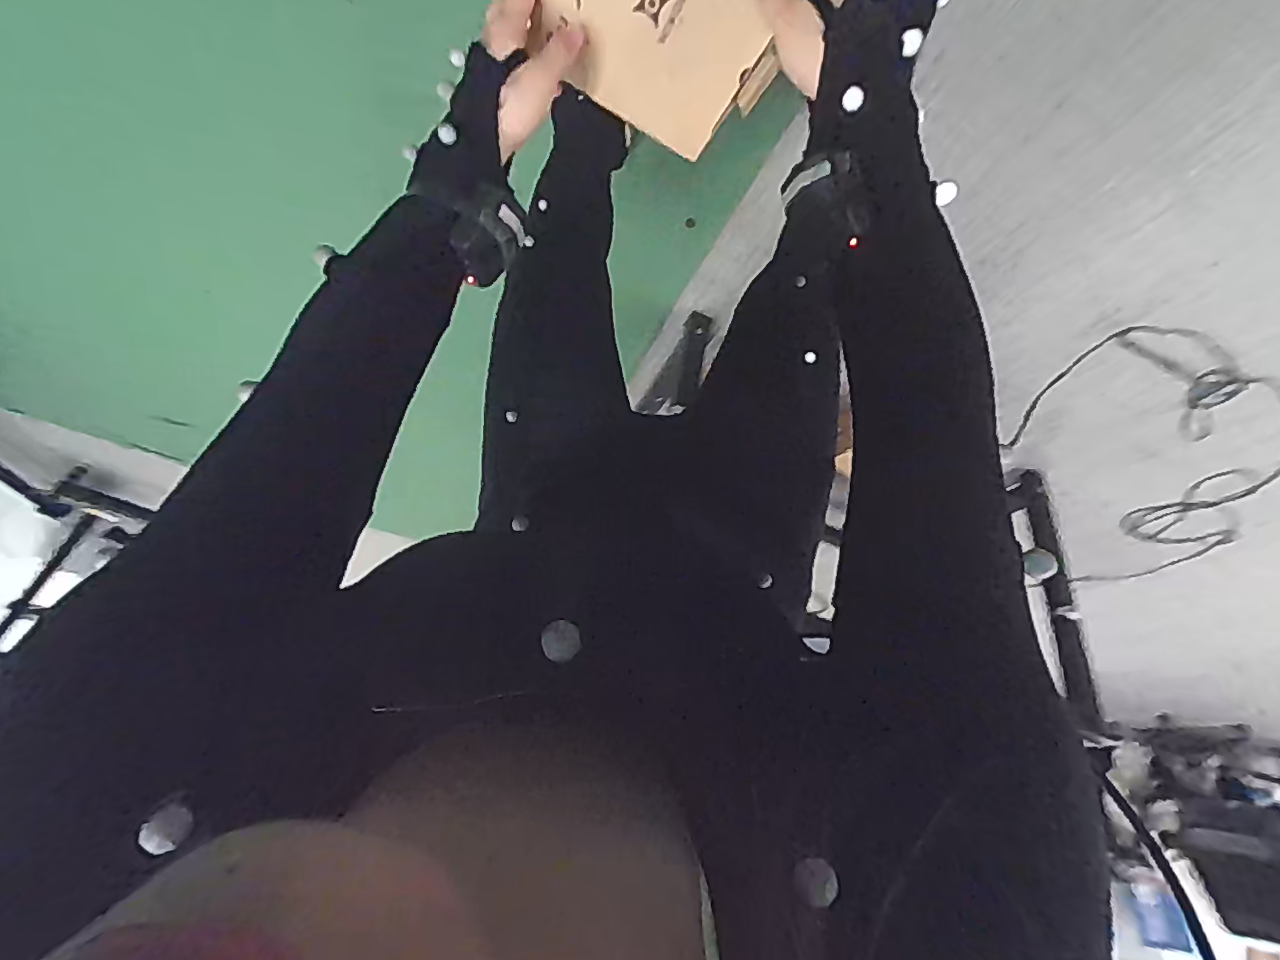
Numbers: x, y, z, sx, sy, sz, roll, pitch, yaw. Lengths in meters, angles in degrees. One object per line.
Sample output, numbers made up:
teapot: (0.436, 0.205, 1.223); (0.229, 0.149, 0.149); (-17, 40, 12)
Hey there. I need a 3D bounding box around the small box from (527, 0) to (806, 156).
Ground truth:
small box: (0.026, -0.434, 0.460); (0.179, 0.176, 0.168); (20, 144, -24)
